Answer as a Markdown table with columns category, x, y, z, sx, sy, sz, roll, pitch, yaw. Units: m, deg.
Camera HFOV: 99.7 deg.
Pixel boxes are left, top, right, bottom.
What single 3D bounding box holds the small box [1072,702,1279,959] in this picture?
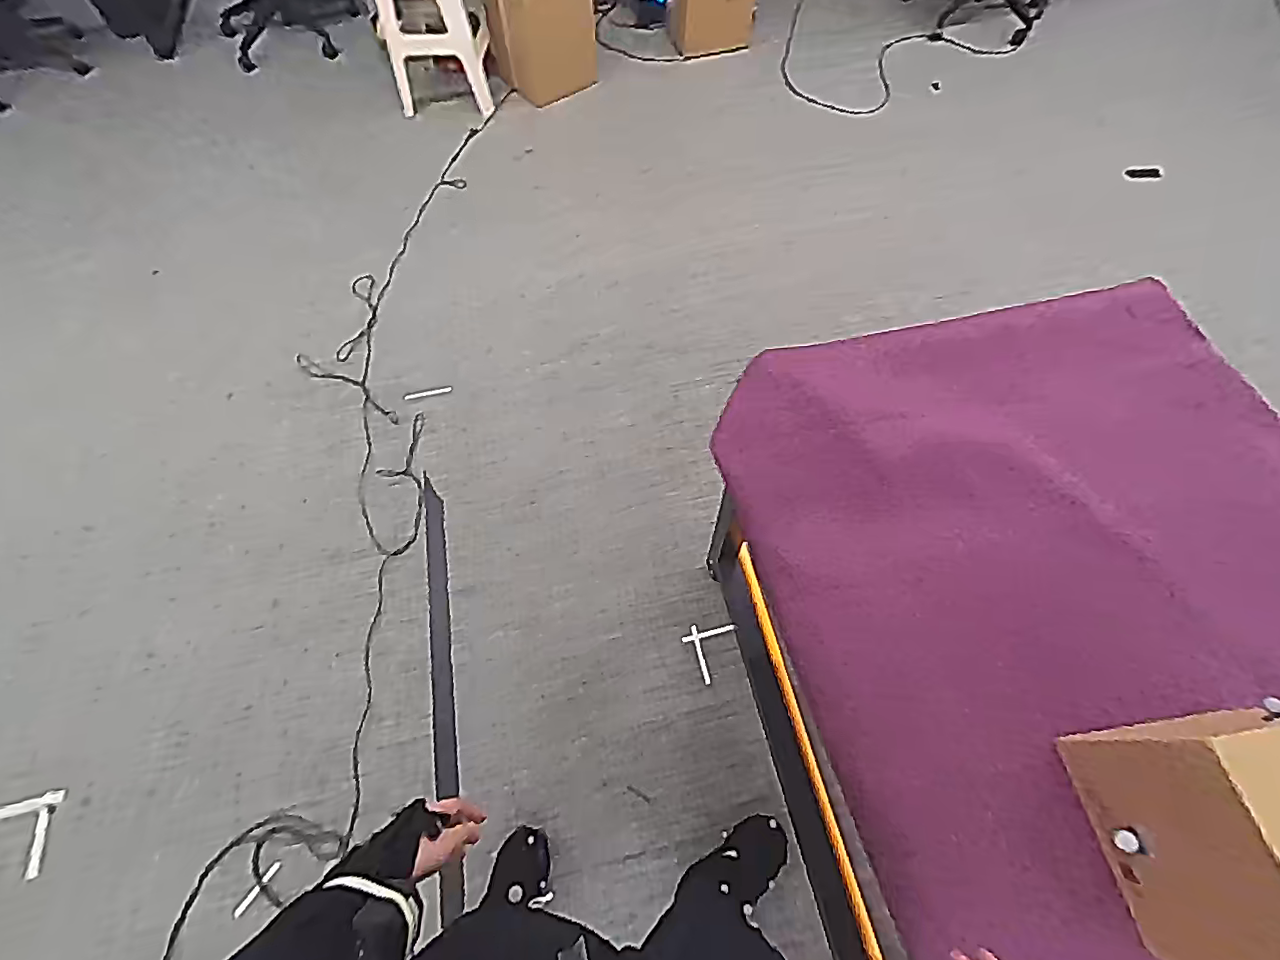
| category | x | y | z | sx | sy | sz | roll | pitch | yaw |
| --- | --- | --- | --- | --- | --- | --- | --- | --- | --- |
| small box | 0.502 | 0.267 | 0.416 | 0.179 | 0.176 | 0.168 | -8 | 63 | -2 |
